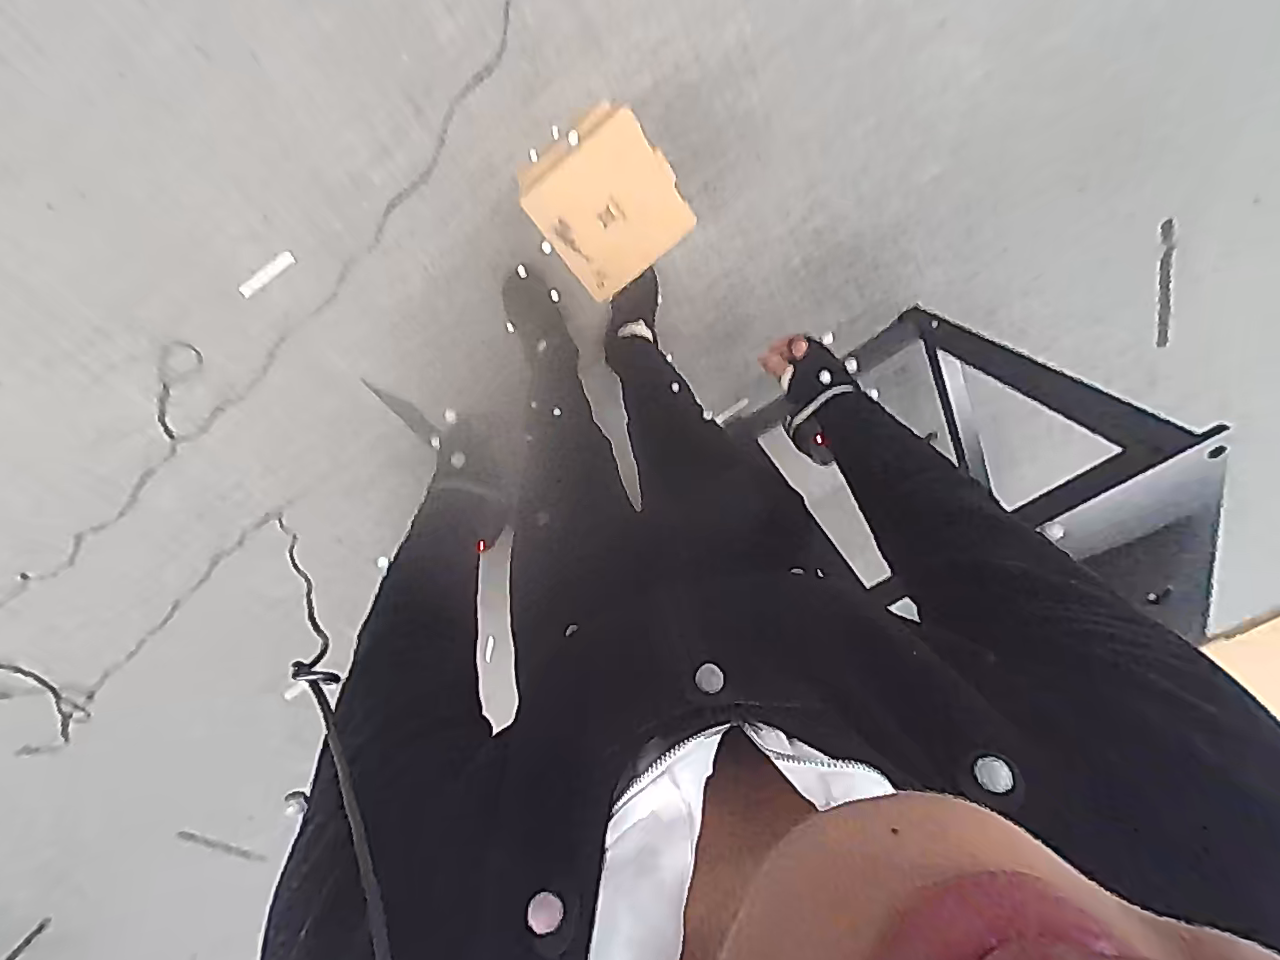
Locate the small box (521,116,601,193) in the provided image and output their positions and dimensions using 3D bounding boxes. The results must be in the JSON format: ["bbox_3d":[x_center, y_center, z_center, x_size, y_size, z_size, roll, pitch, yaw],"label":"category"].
[{"bbox_3d":[-0.114,-0.568,1.044,0.179,0.176,0.168,-35,122,11],"label":"small box"}]

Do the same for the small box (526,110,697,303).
[{"bbox_3d":[-0.050,-0.391,0.776,0.179,0.176,0.168,-37,121,10],"label":"small box"}]
